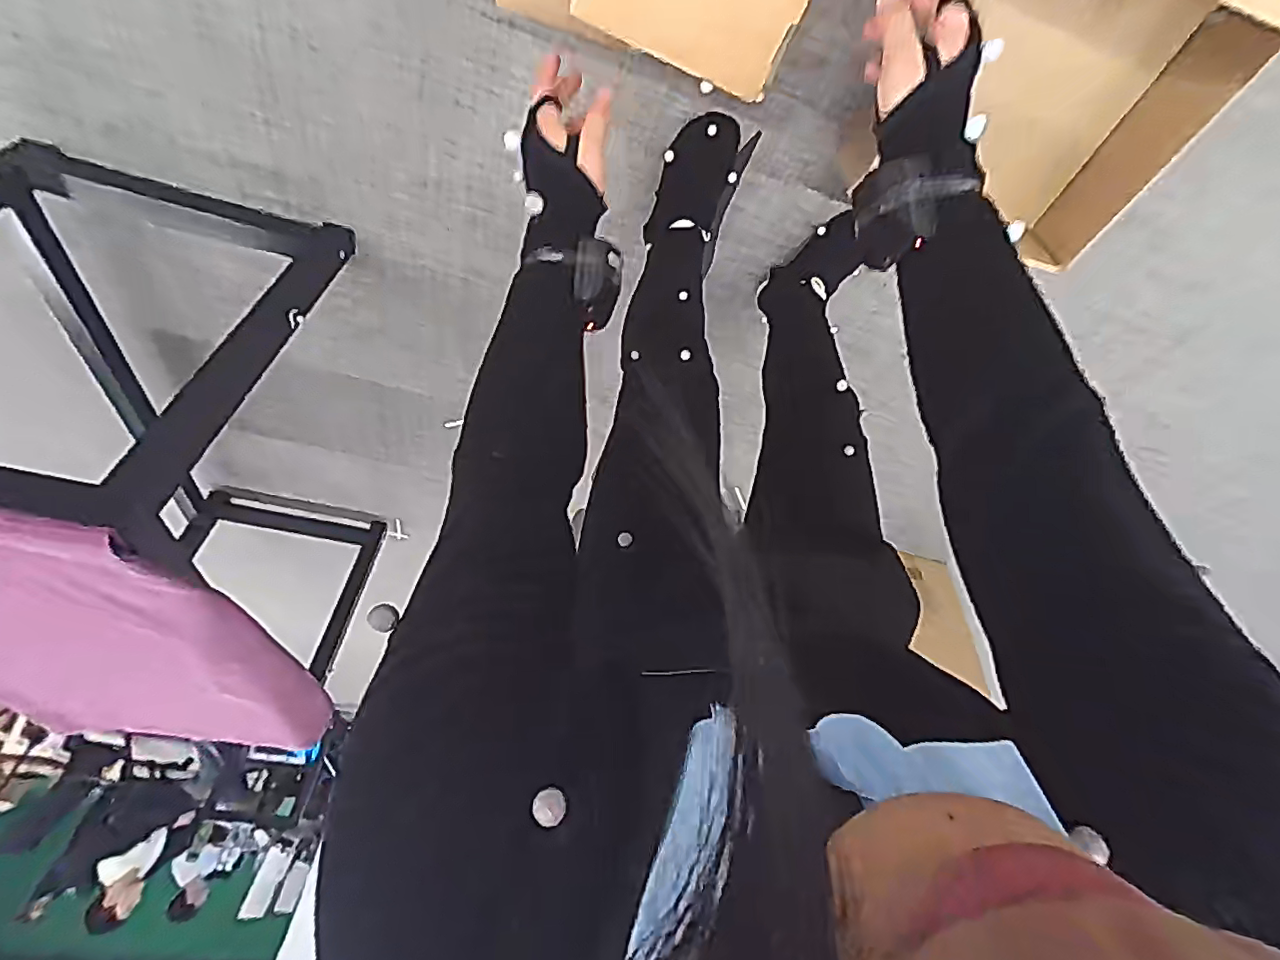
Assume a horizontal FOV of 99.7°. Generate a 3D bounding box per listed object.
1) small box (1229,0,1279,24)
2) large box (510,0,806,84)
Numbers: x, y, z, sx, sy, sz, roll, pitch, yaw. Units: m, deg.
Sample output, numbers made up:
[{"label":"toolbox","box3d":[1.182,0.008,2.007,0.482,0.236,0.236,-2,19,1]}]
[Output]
[{"label":"small box","box3d":[0.622,-0.532,0.476,0.168,0.176,0.179,11,143,-11]},{"label":"large box","box3d":[0.057,-0.712,0.532,0.320,0.320,0.408,11,141,-8]}]
